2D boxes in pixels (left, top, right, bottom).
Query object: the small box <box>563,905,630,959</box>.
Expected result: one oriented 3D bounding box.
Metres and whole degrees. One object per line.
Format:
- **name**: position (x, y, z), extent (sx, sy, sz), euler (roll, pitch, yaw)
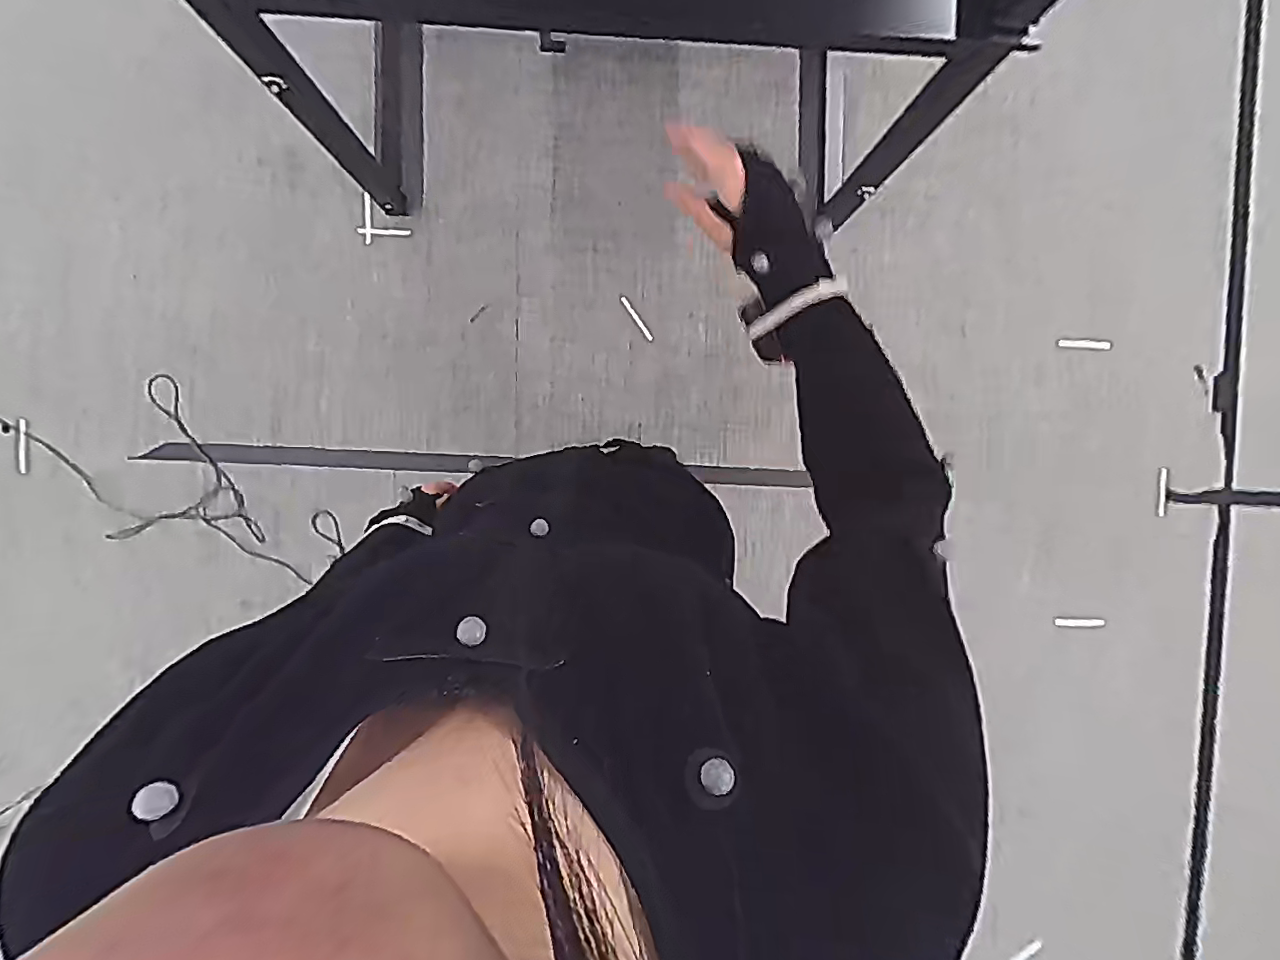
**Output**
- **small box**: position (-0.113, 1.281, 1.444), extent (0.168, 0.176, 0.179), euler (-8, 93, -3)
